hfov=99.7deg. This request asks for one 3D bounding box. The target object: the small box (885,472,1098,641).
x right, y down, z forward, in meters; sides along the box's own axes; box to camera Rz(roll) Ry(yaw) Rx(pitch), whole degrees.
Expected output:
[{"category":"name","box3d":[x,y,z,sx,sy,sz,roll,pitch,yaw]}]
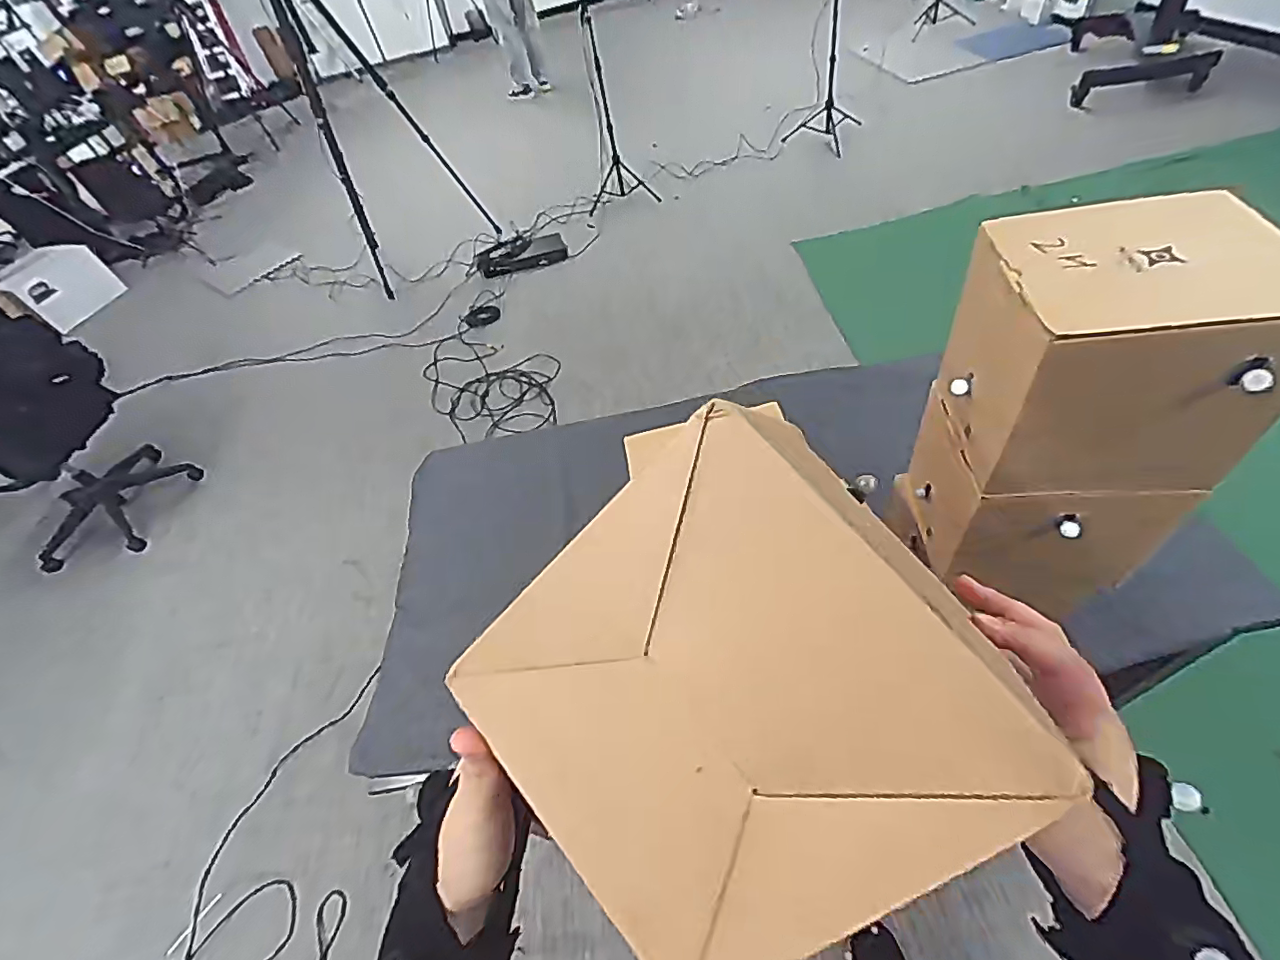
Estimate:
[{"category":"small box","box3d":[0.432,0.094,0.699,0.168,0.176,0.179,-12,49,5]}]

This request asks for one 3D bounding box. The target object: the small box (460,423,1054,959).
[{"category":"small box","box3d":[0.048,0.084,0.272,0.179,0.176,0.168,-45,77,19]}]

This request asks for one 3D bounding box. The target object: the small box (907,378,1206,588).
[{"category":"small box","box3d":[0.403,0.002,0.568,0.179,0.176,0.168,-4,50,12]}]

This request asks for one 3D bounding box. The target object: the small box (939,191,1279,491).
[{"category":"small box","box3d":[0.374,-0.104,0.445,0.179,0.176,0.168,-2,50,13]}]

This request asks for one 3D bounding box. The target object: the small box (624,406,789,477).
[{"category":"small box","box3d":[0.089,0.047,0.604,0.179,0.176,0.168,-12,49,4]}]
